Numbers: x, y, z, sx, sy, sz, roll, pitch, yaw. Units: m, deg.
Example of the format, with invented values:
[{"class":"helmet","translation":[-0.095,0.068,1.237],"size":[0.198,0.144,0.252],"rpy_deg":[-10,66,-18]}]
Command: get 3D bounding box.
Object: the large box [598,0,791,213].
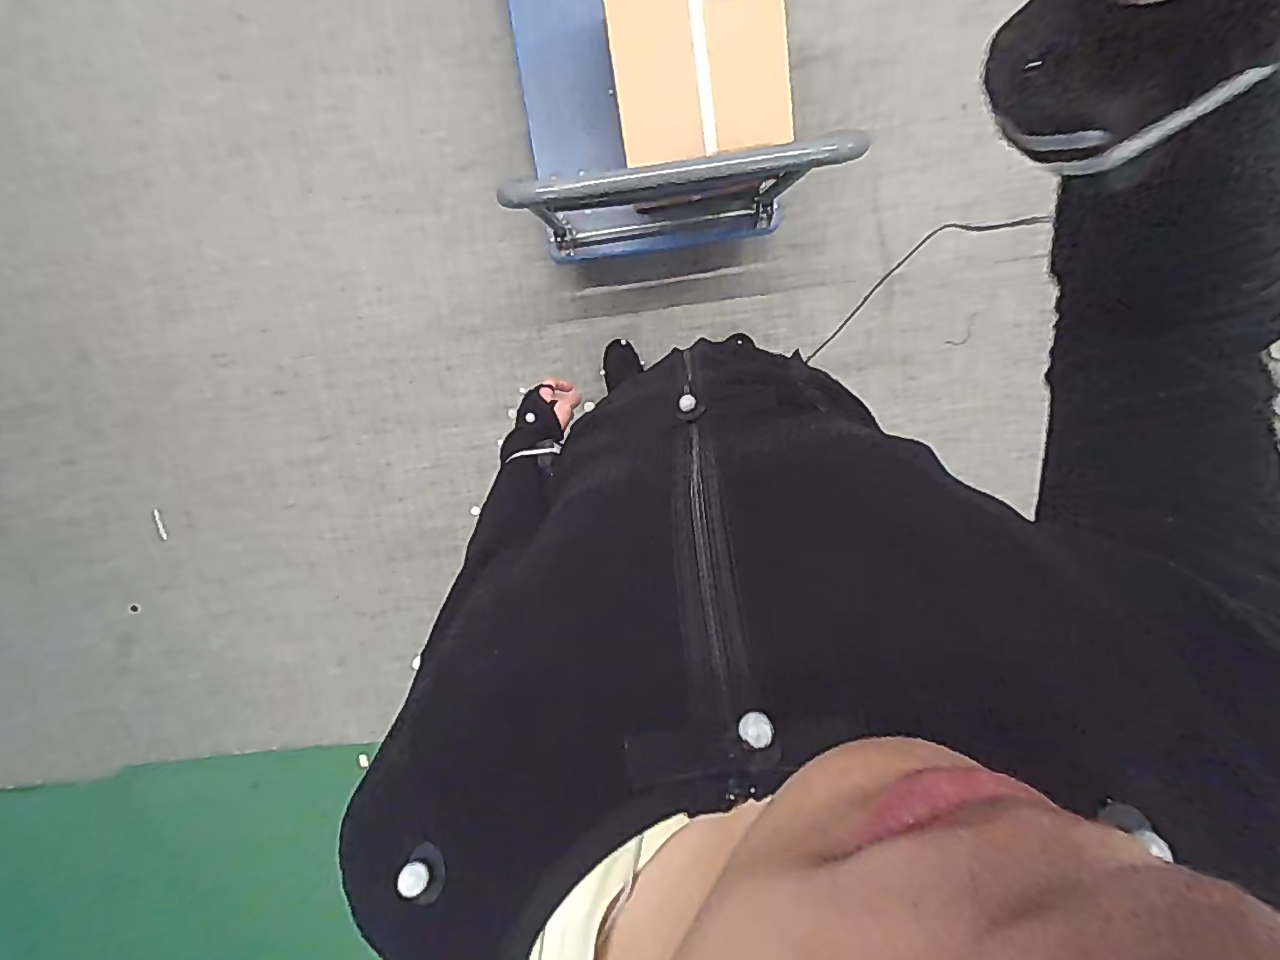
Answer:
[{"class":"large box","translation":[0.099,-0.817,1.100],"size":[0.320,0.320,0.408],"rpy_deg":[-9,104,3]}]
